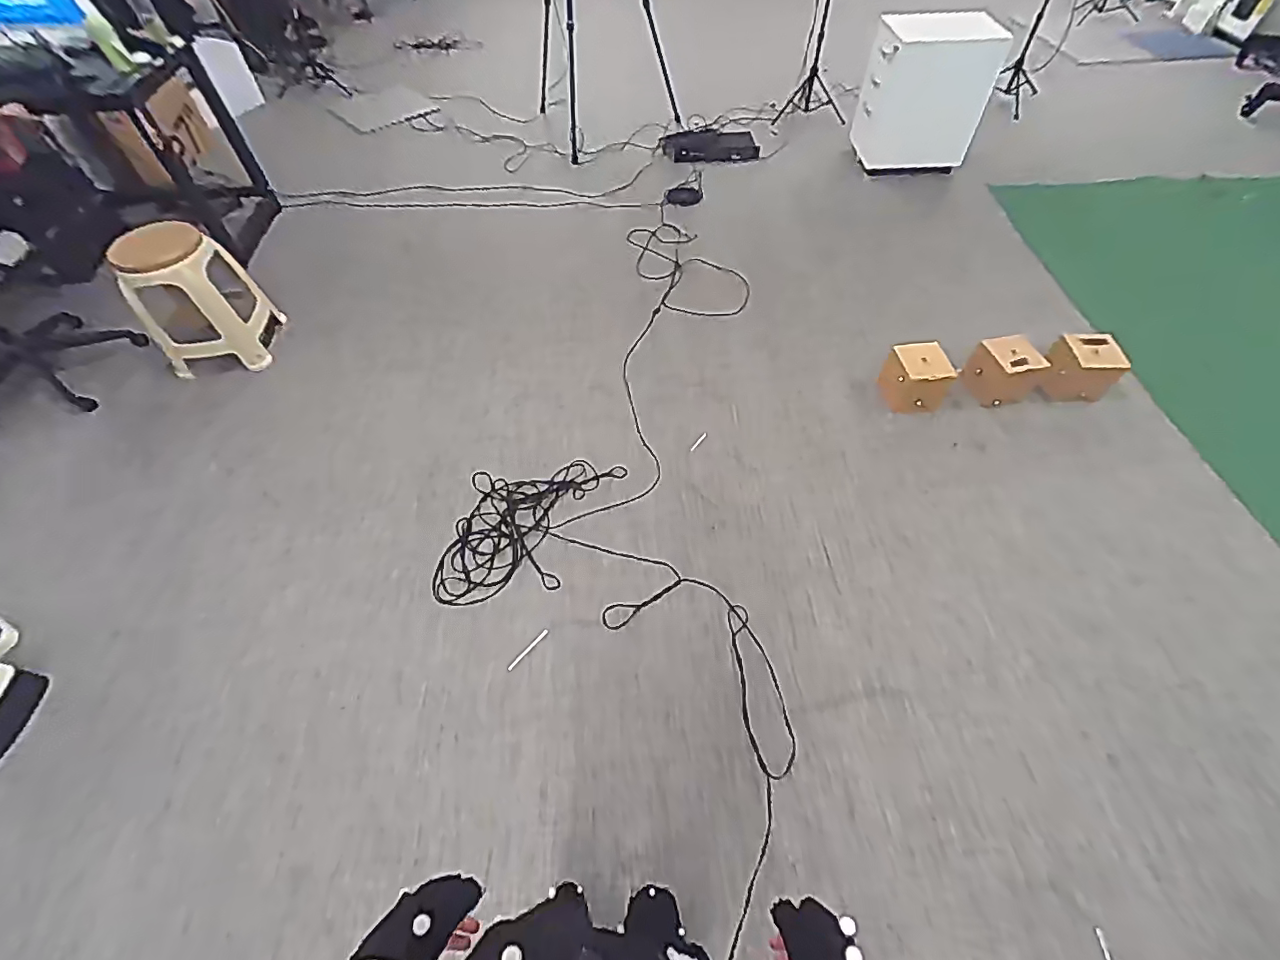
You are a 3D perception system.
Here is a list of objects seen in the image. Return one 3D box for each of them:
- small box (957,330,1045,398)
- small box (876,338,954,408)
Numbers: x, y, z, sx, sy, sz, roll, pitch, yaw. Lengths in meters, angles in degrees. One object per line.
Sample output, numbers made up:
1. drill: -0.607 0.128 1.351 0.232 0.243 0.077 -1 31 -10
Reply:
1. small box: 1.288 -0.410 1.942 0.168 0.176 0.179 -9 54 -6
2. small box: 0.972 -0.382 1.931 0.168 0.176 0.179 -6 56 -2
